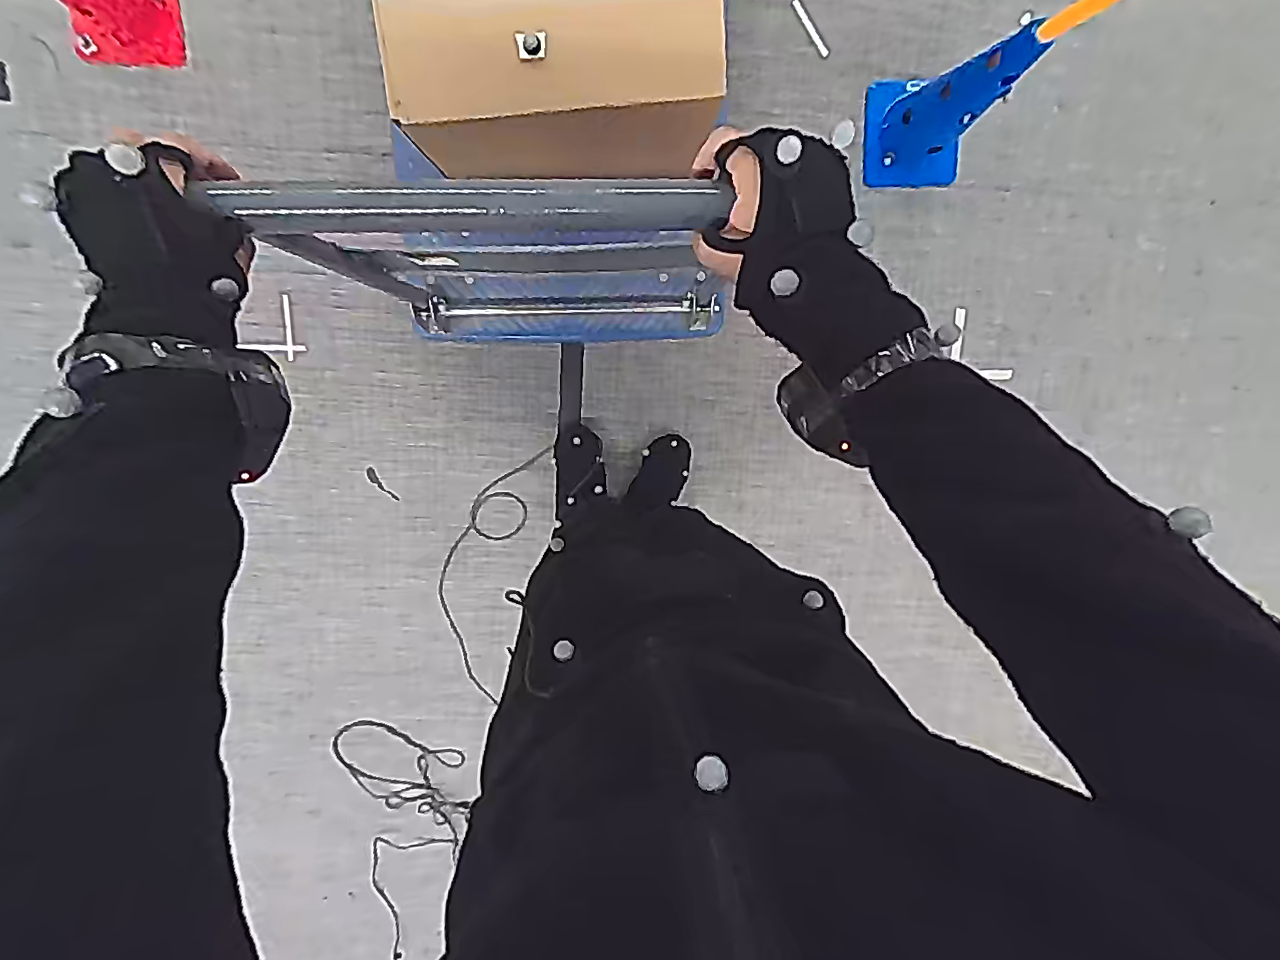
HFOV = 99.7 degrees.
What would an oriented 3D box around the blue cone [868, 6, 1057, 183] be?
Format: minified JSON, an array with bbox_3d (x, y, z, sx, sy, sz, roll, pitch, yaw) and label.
[{"bbox_3d":[0.572,-0.686,0.956,0.193,0.380,0.192,-2,101,-2],"label":"blue cone"}]
